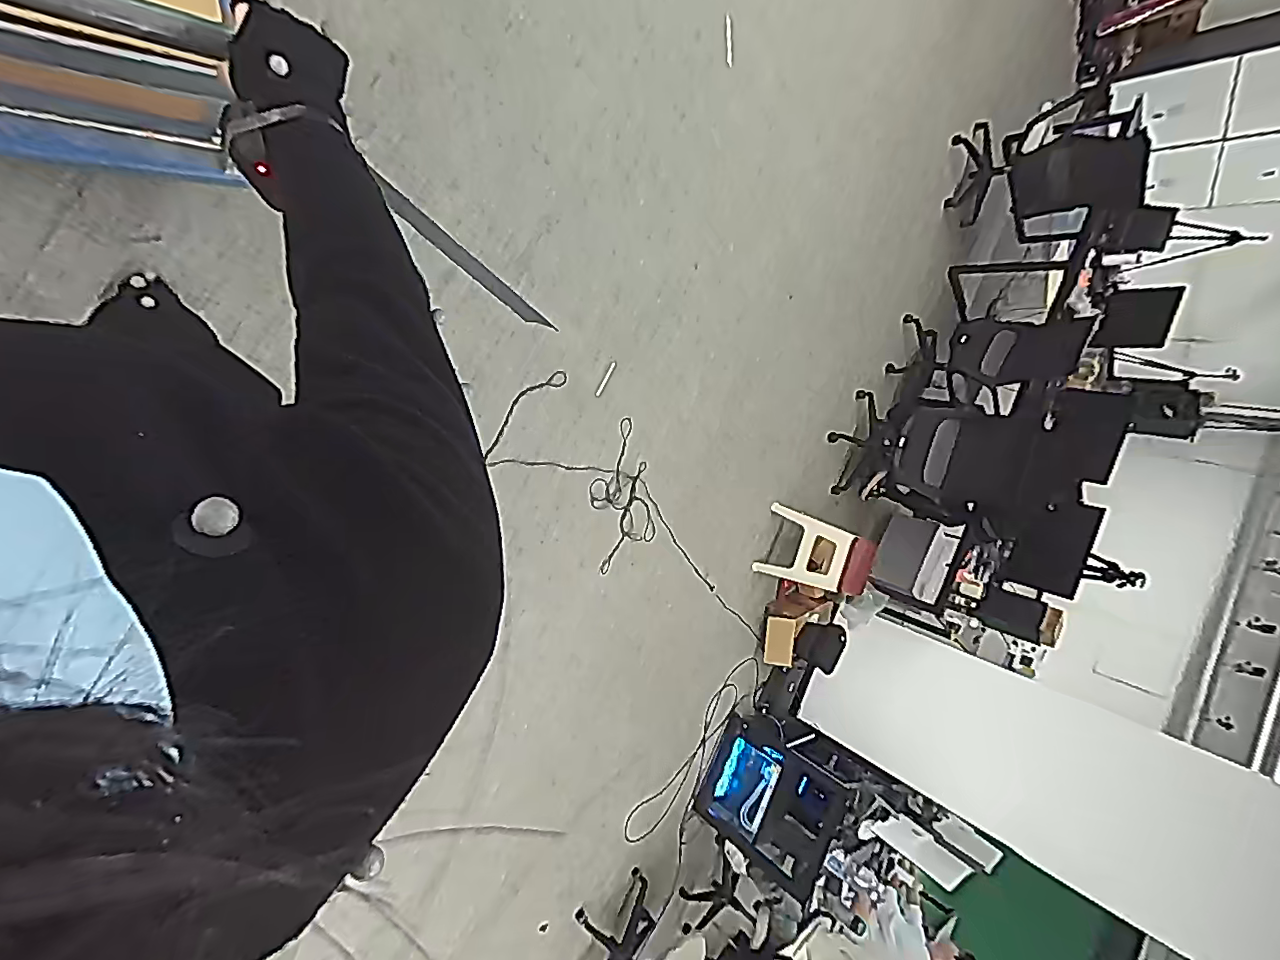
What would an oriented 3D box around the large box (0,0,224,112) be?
[{"bbox_3d":[-0.821,-0.715,0.671,0.408,0.320,0.320,-16,114,-43],"label":"large box"}]
